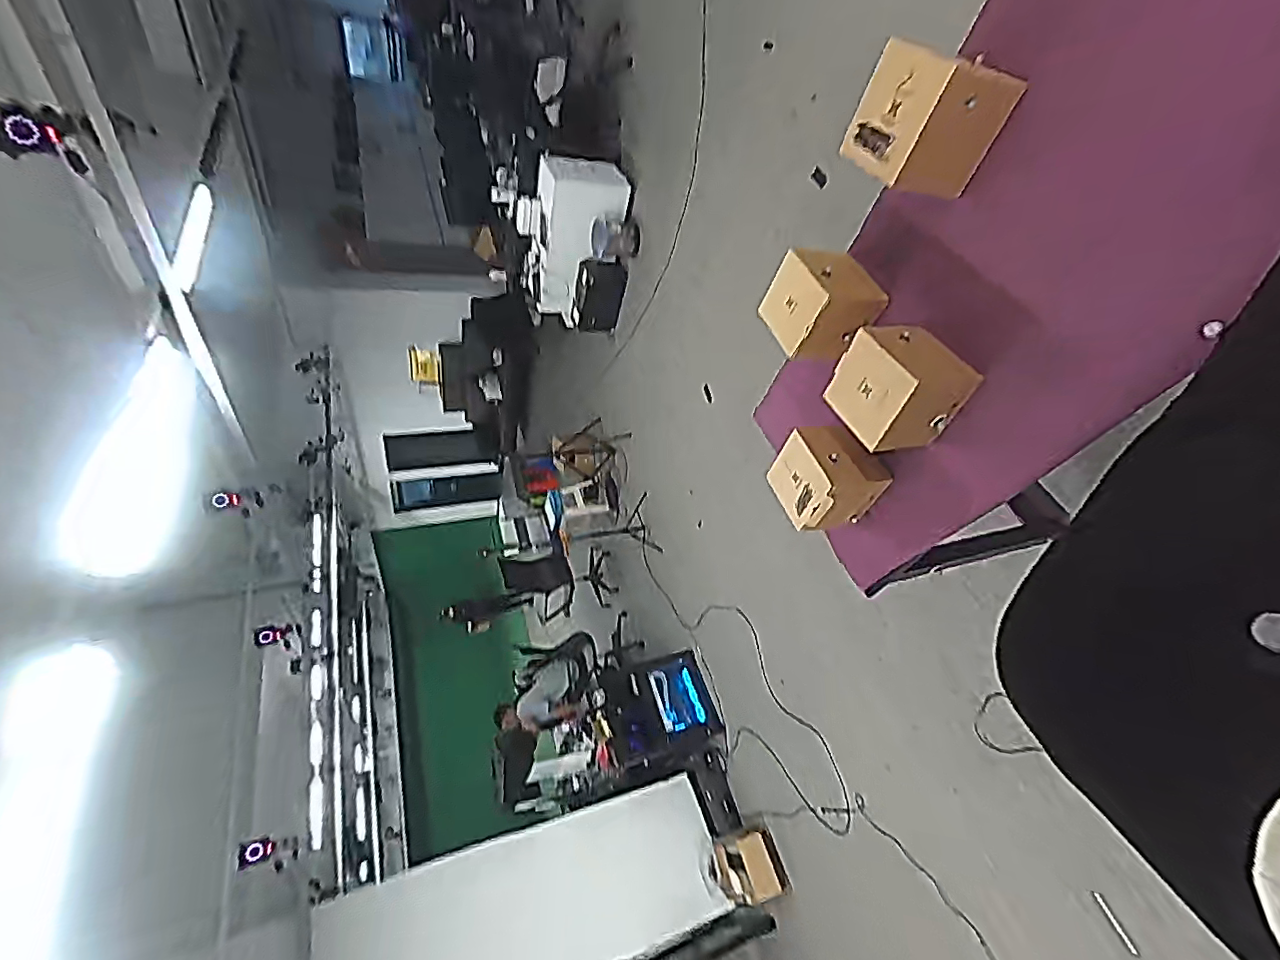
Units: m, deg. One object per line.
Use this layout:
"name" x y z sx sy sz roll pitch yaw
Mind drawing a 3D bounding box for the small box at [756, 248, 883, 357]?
"small box" 0.398 -0.391 1.213 0.168 0.176 0.179 114 142 -49

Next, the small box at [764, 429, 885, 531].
"small box" 0.425 -0.006 1.254 0.168 0.176 0.179 110 147 -46

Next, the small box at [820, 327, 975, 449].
"small box" 0.494 -0.179 1.053 0.168 0.176 0.179 106 148 -44
